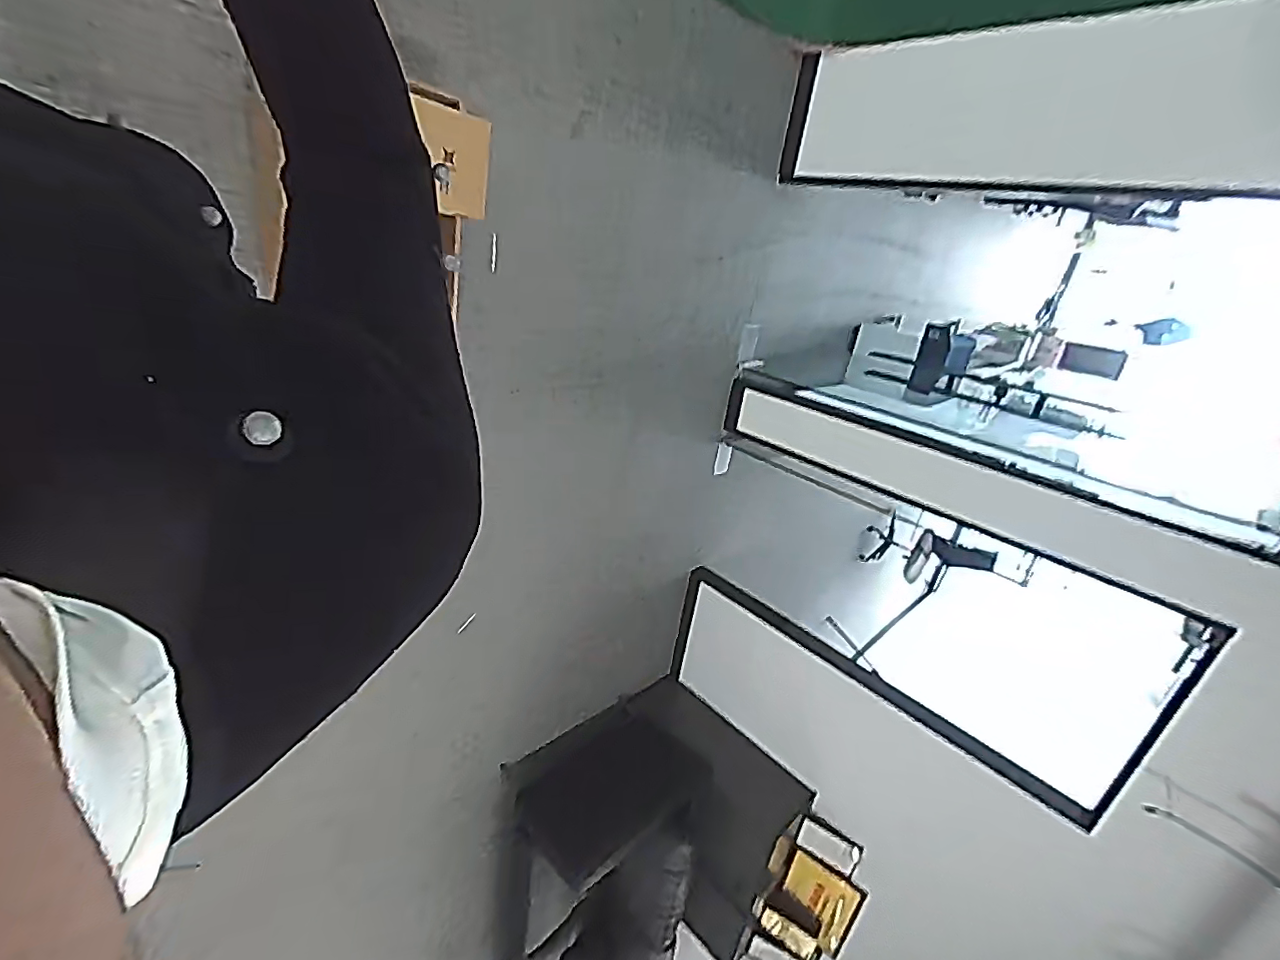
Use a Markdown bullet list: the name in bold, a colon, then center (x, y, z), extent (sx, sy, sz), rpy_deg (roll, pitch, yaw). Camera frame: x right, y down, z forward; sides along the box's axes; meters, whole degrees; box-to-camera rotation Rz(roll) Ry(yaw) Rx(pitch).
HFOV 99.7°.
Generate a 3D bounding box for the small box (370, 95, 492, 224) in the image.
- **small box**: center (-0.410, -0.614, 1.049), extent (0.168, 0.176, 0.179), rpy_deg (-10, 120, -45)
